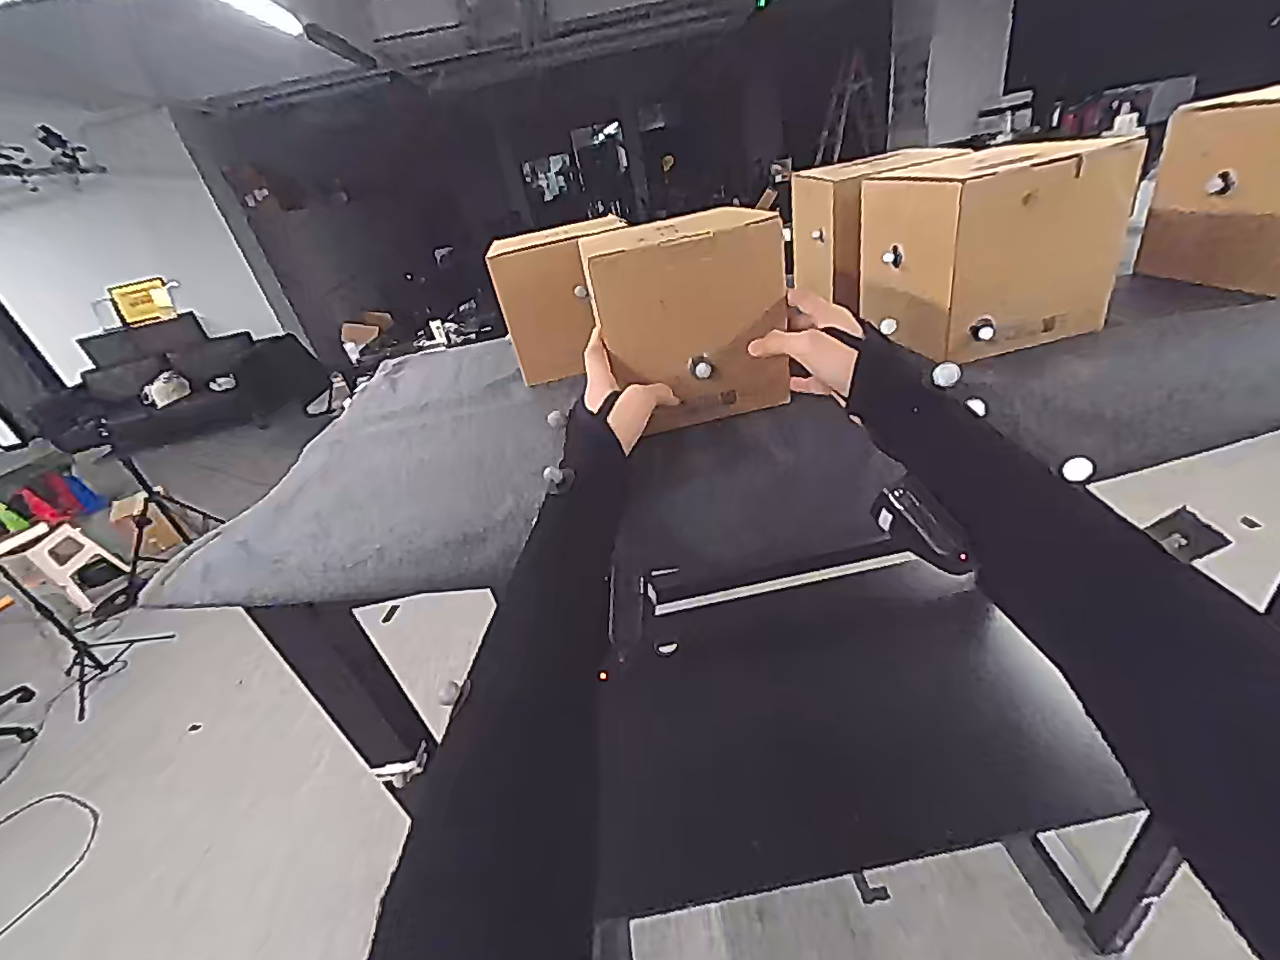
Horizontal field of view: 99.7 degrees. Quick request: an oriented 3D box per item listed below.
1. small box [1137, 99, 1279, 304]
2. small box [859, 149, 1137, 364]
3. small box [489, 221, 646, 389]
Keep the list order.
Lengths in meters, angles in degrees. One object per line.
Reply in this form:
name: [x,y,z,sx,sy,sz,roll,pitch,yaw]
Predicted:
small box: [0.665,-0.286,0.543,0.168,0.176,0.179,-13,30,0]
small box: [0.351,-0.232,0.570,0.168,0.176,0.179,-13,30,-2]
small box: [-0.094,-0.244,0.747,0.179,0.176,0.168,-14,31,-3]
